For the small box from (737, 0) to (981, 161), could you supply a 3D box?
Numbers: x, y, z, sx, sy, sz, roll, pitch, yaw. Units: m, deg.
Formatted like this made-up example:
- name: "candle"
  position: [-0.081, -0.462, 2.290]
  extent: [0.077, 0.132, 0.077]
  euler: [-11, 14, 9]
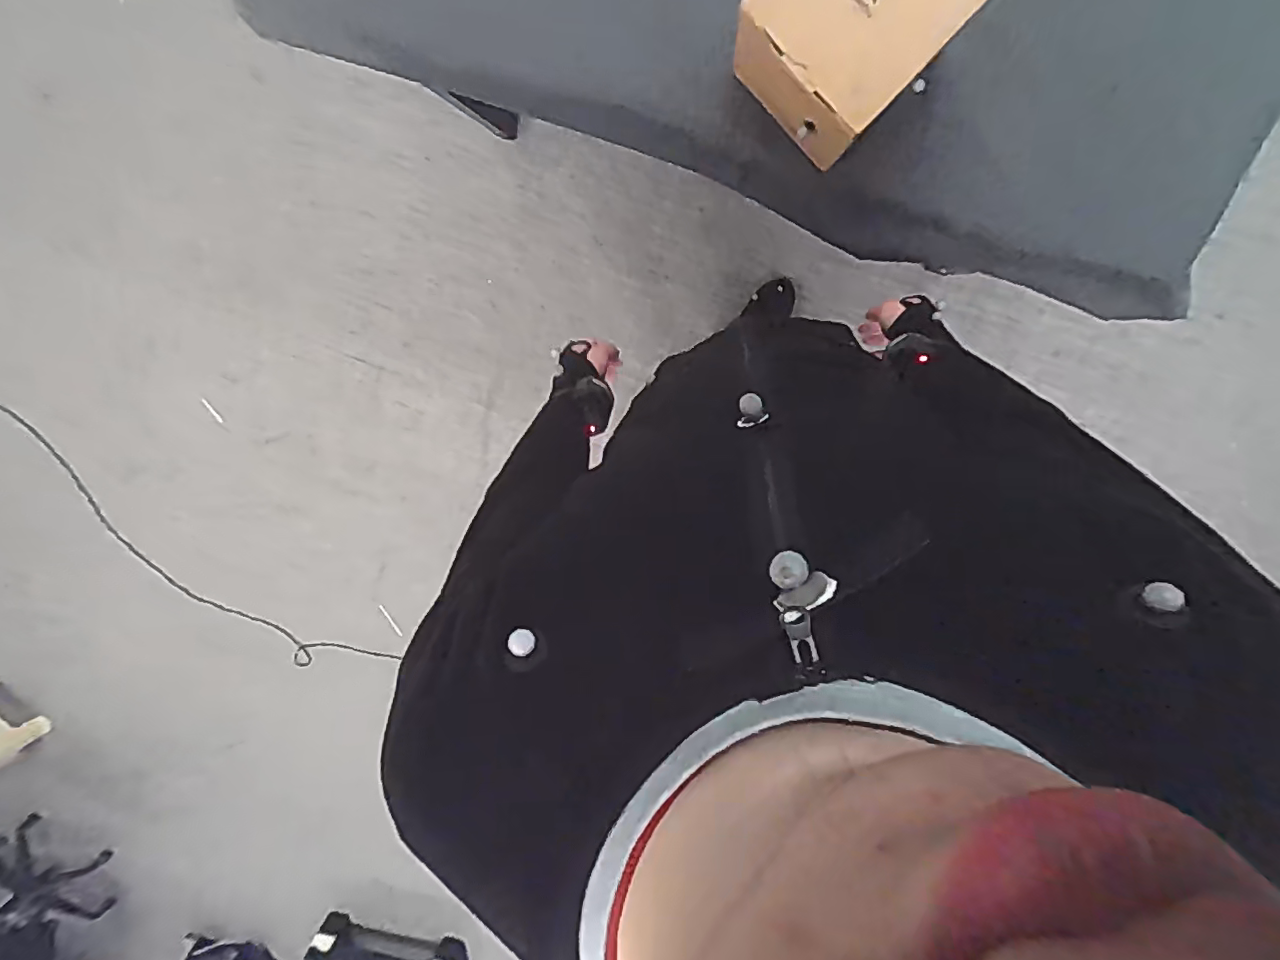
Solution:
- name: "small box"
  position: [0.217, -0.472, 0.560]
  extent: [0.168, 0.176, 0.179]
  euler: [42, 108, -9]
